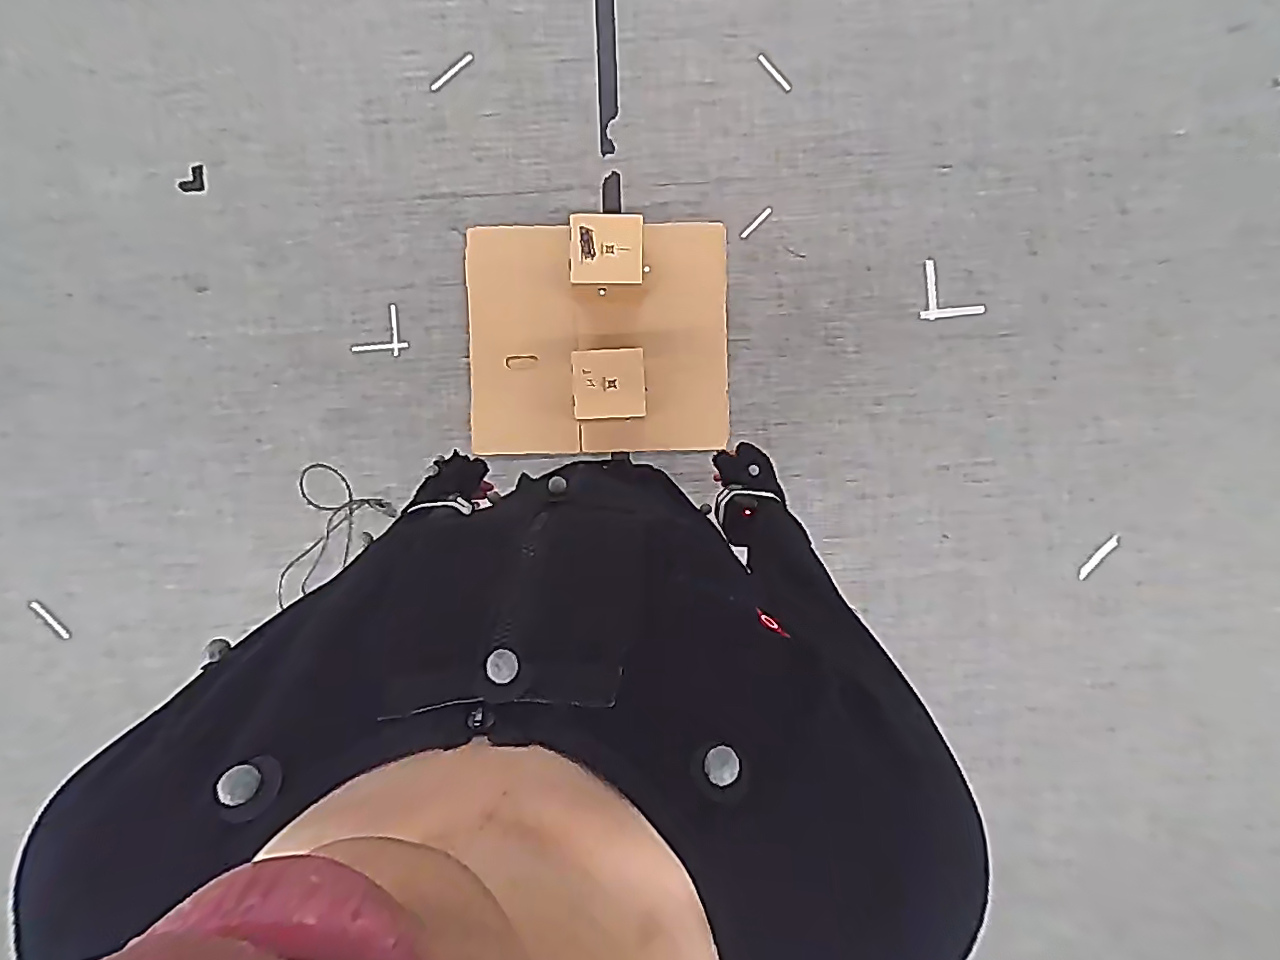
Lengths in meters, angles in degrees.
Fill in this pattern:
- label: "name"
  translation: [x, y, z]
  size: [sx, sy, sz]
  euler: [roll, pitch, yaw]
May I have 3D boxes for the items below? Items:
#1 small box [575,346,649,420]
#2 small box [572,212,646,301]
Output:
- label: "small box"
  translation: [-0.068, -0.245, 1.389]
  size: [0.179, 0.176, 0.168]
  euler: [-2, 92, 2]
- label: "small box"
  translation: [-0.074, -0.562, 1.378]
  size: [0.179, 0.176, 0.168]
  euler: [1, 92, 0]
